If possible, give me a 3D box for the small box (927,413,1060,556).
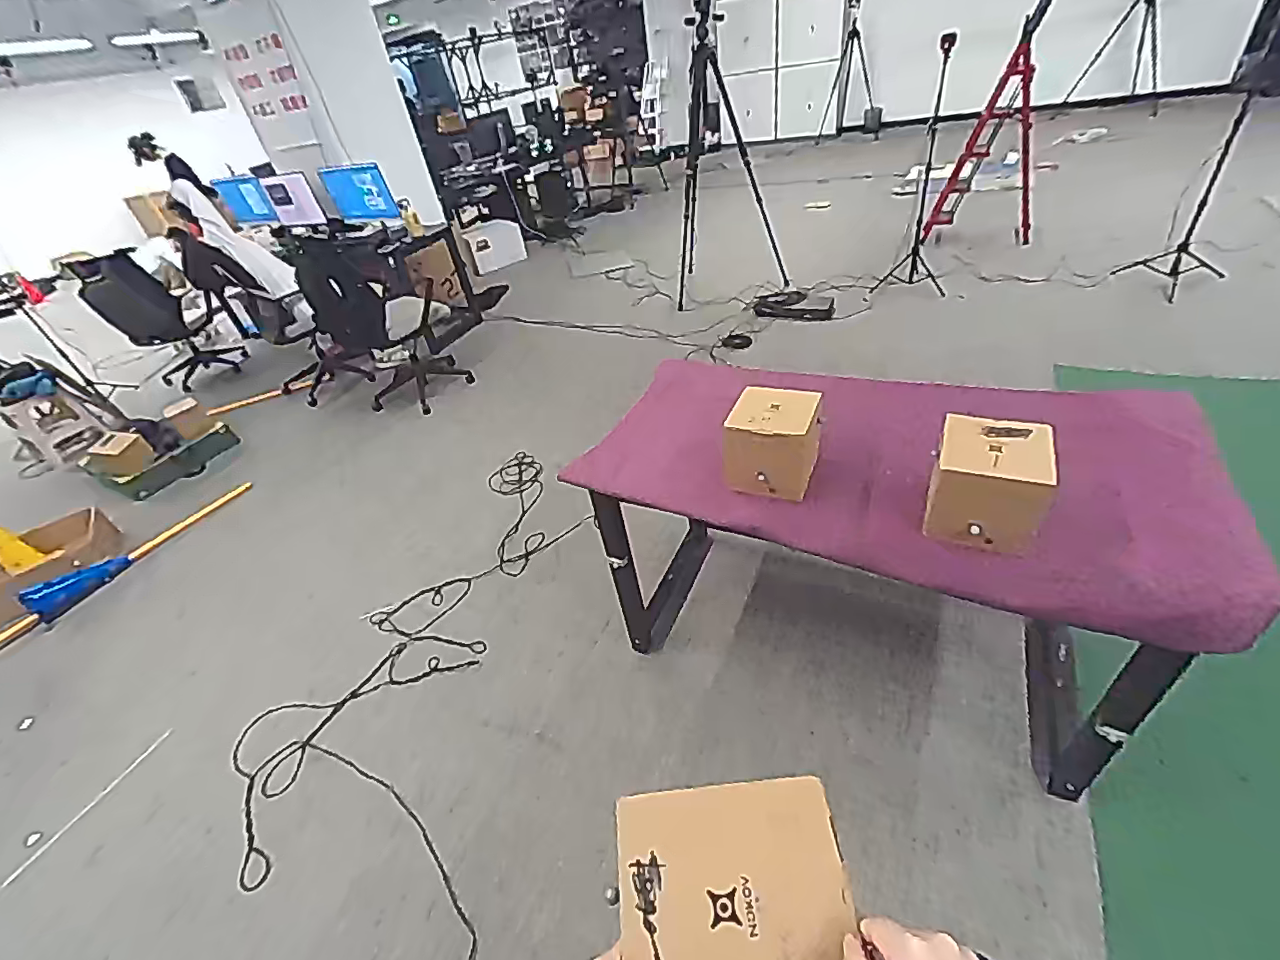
[{"bbox_3d":[0.624,0.005,0.969,0.168,0.176,0.179,11,43,27],"label":"small box"}]

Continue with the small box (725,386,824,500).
[{"bbox_3d":[0.290,-0.083,1.161,0.168,0.176,0.179,10,41,26],"label":"small box"}]

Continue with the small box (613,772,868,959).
[{"bbox_3d":[0.074,0.362,0.452,0.179,0.176,0.168,-7,46,2],"label":"small box"}]
